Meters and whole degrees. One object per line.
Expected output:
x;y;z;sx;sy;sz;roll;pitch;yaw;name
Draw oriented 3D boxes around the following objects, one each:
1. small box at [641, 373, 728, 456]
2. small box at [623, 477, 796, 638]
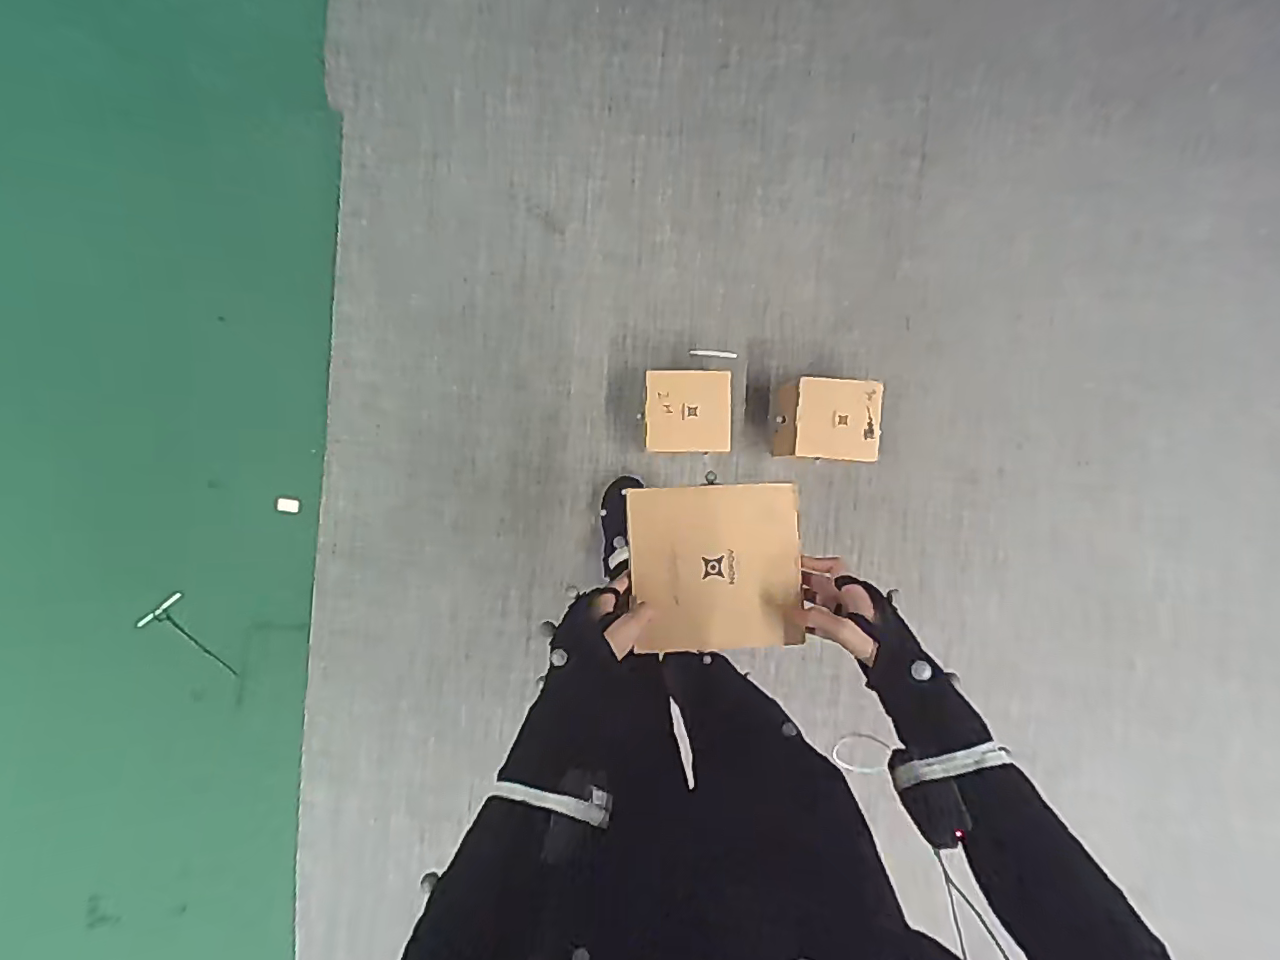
0.092;-0.139;1.190;0.179;0.176;0.168;0;91;-1;small box
0.070;0.080;0.638;0.179;0.176;0.168;-2;88;-2;small box
